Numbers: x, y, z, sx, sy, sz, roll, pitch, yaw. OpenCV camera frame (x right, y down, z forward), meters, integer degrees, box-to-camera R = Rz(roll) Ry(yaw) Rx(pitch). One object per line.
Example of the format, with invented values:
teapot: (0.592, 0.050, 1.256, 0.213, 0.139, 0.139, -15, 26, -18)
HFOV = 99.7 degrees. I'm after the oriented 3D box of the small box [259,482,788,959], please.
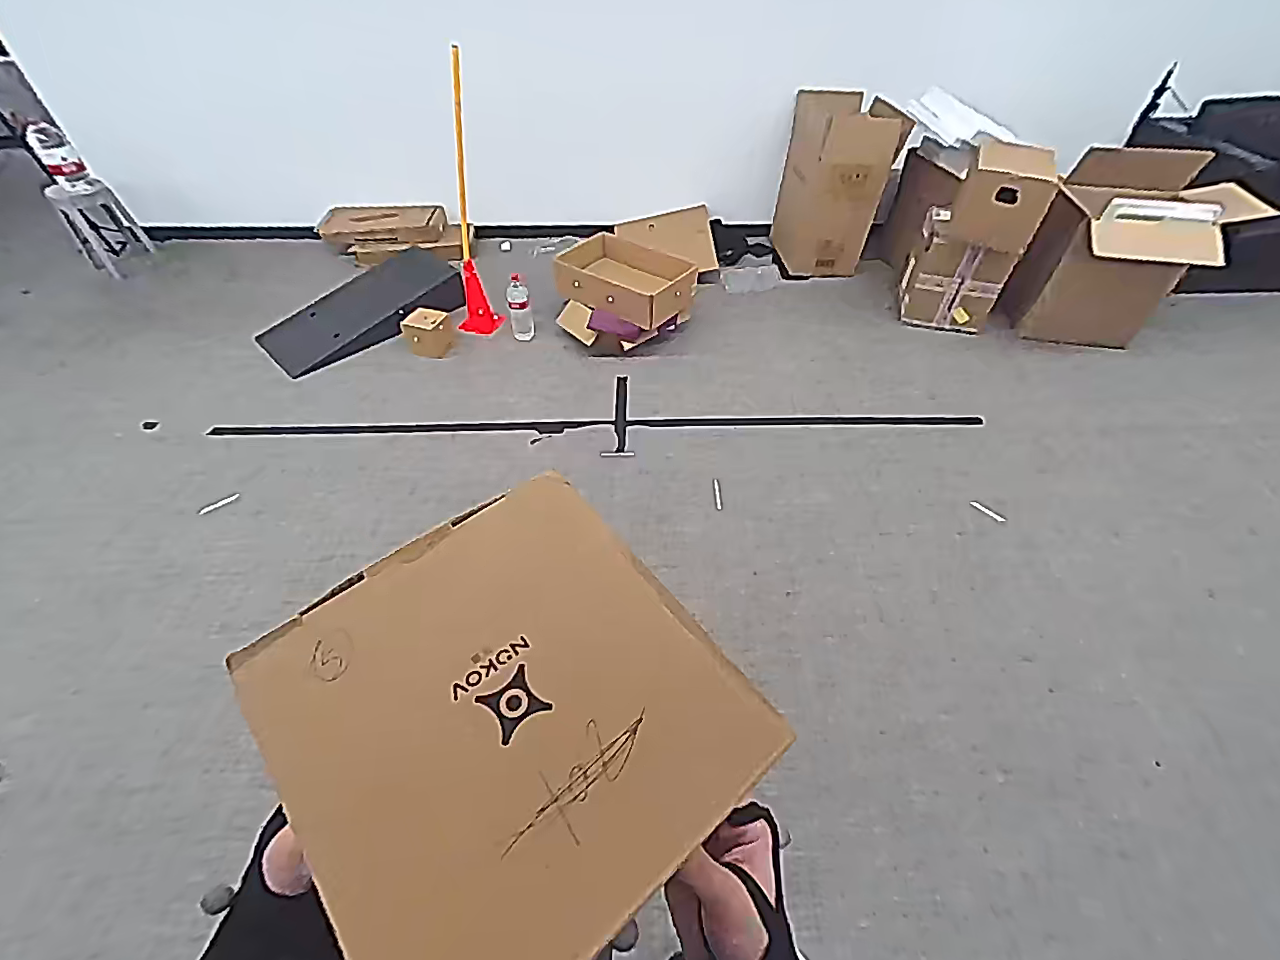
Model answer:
small box: (-0.057, 0.141, 0.299, 0.168, 0.176, 0.179, -34, 64, -25)
